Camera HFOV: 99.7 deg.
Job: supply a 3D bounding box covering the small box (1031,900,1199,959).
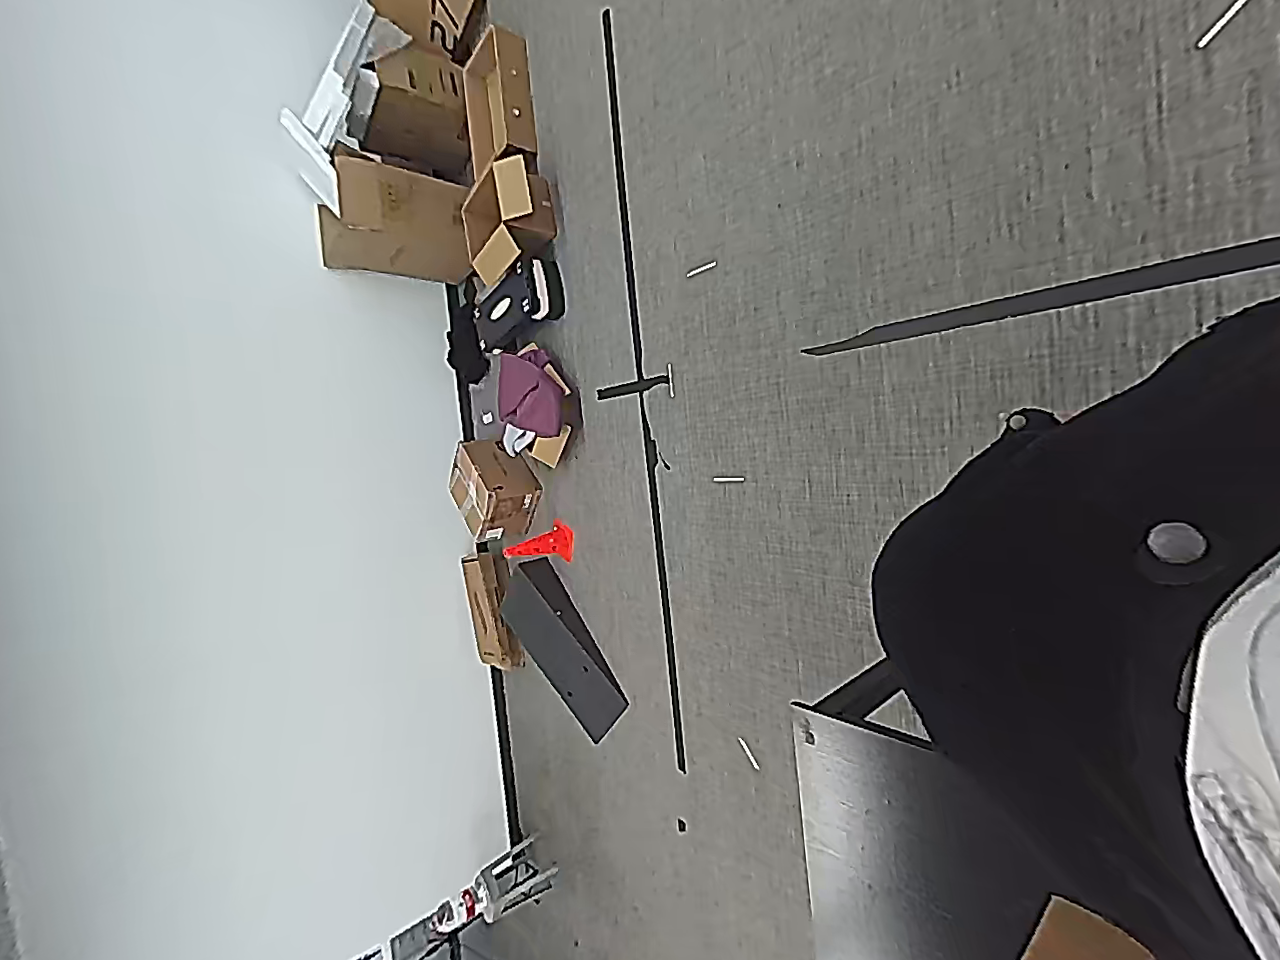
[{"bbox_3d":[0.550,0.629,0.602,0.179,0.176,0.168,-1,96,52],"label":"small box"}]
